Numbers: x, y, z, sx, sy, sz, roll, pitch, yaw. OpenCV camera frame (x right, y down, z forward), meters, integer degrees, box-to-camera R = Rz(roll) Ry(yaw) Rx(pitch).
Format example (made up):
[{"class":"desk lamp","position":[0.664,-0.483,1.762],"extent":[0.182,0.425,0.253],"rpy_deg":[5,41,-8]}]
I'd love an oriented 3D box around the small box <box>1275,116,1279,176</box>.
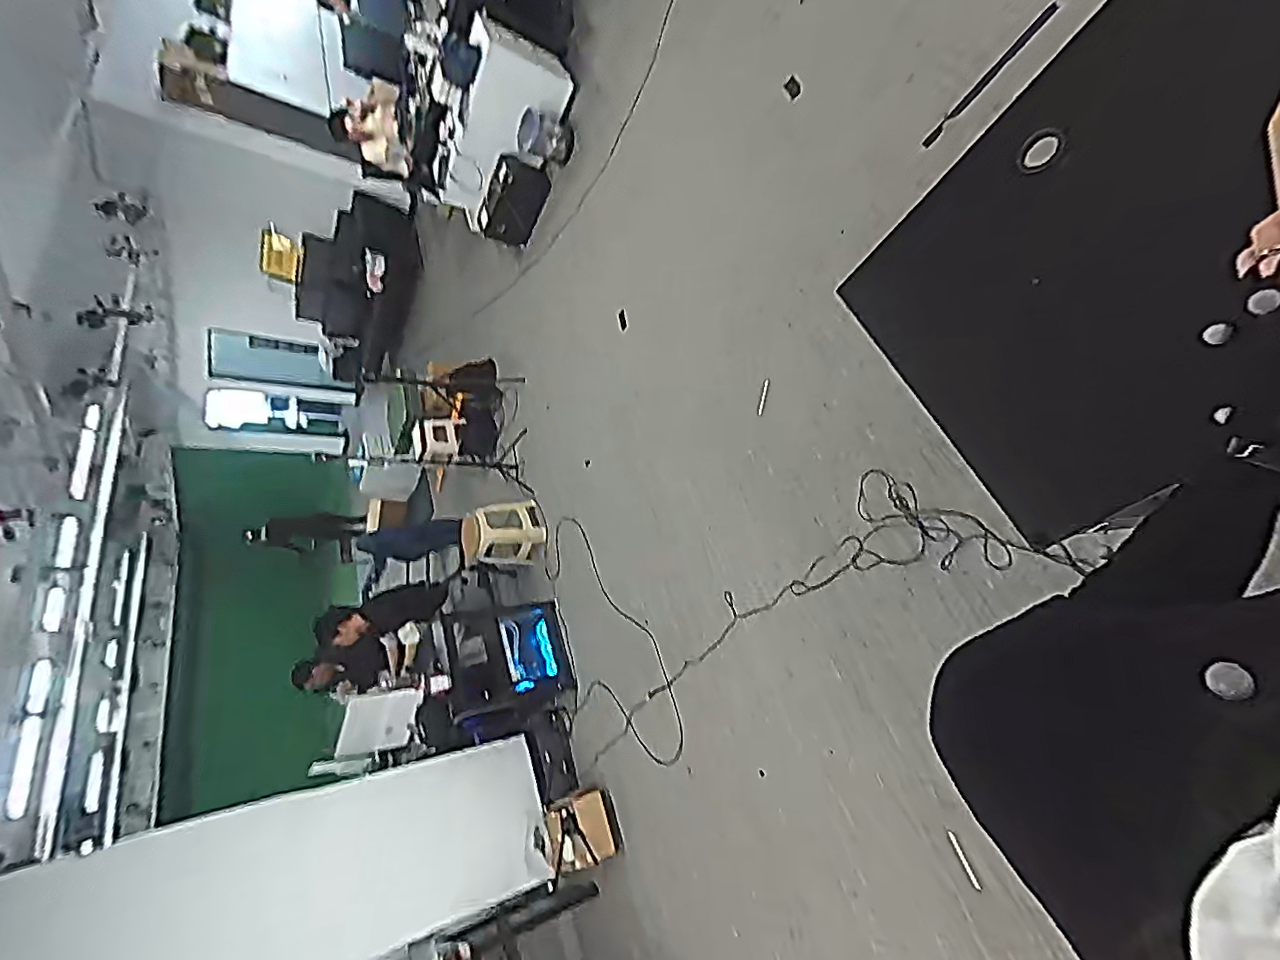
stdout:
[{"class":"small box","position":[0.567,-0.237,0.356],"extent":[0.168,0.176,0.179],"rpy_deg":[-6,89,41]}]
